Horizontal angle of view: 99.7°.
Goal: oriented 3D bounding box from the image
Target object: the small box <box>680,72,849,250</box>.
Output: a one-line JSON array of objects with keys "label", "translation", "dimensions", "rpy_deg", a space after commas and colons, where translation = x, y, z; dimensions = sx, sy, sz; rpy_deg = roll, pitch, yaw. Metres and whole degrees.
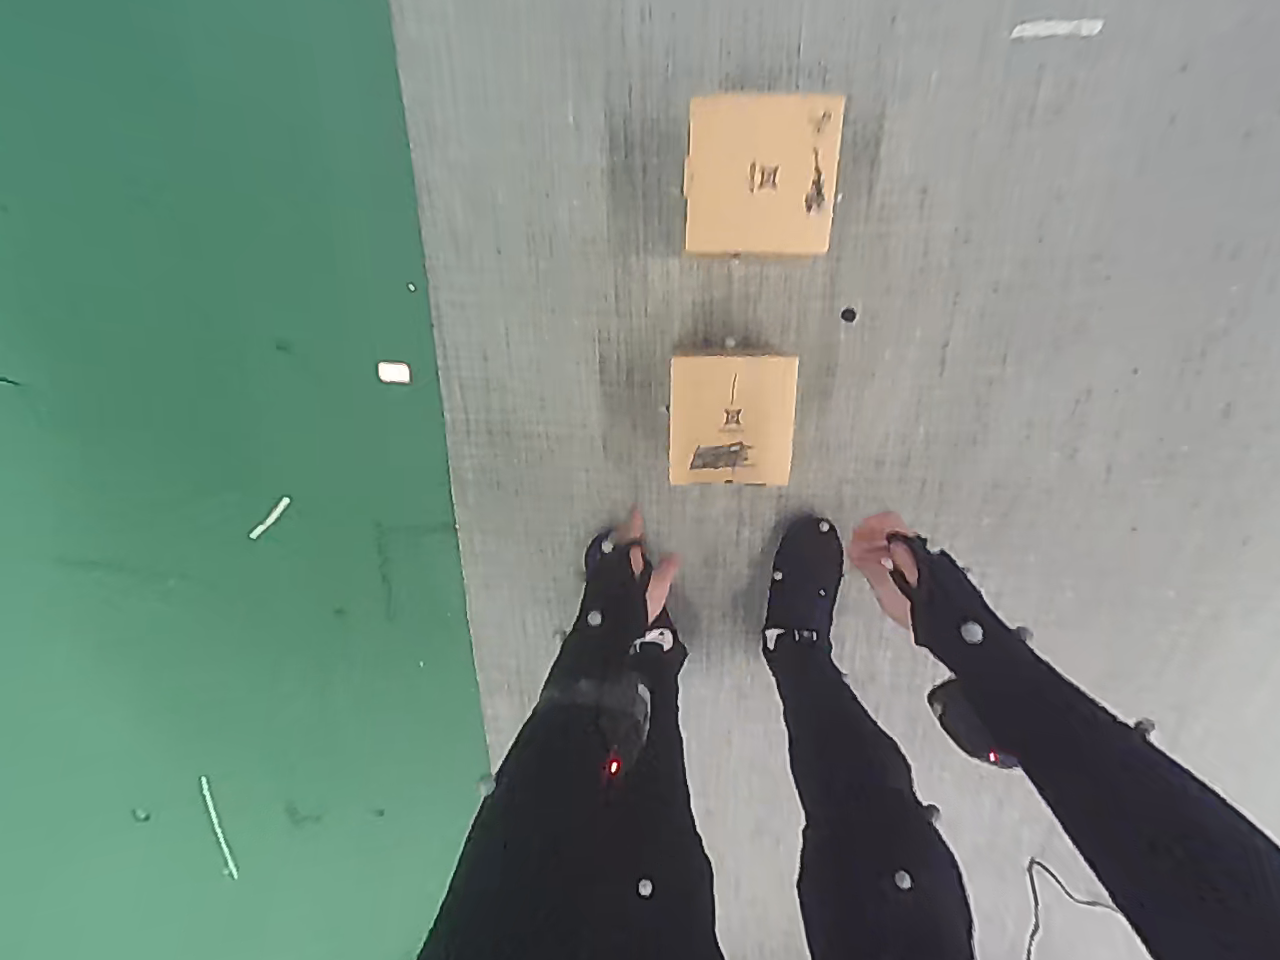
[{"label": "small box", "translation": [0.143, -0.386, 0.684], "dimensions": [0.179, 0.176, 0.168], "rpy_deg": [2, 109, 4]}]

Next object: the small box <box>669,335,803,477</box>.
[{"label": "small box", "translation": [0.127, -0.112, 0.777], "dimensions": [0.168, 0.176, 0.179], "rpy_deg": [0, 108, 3]}]
